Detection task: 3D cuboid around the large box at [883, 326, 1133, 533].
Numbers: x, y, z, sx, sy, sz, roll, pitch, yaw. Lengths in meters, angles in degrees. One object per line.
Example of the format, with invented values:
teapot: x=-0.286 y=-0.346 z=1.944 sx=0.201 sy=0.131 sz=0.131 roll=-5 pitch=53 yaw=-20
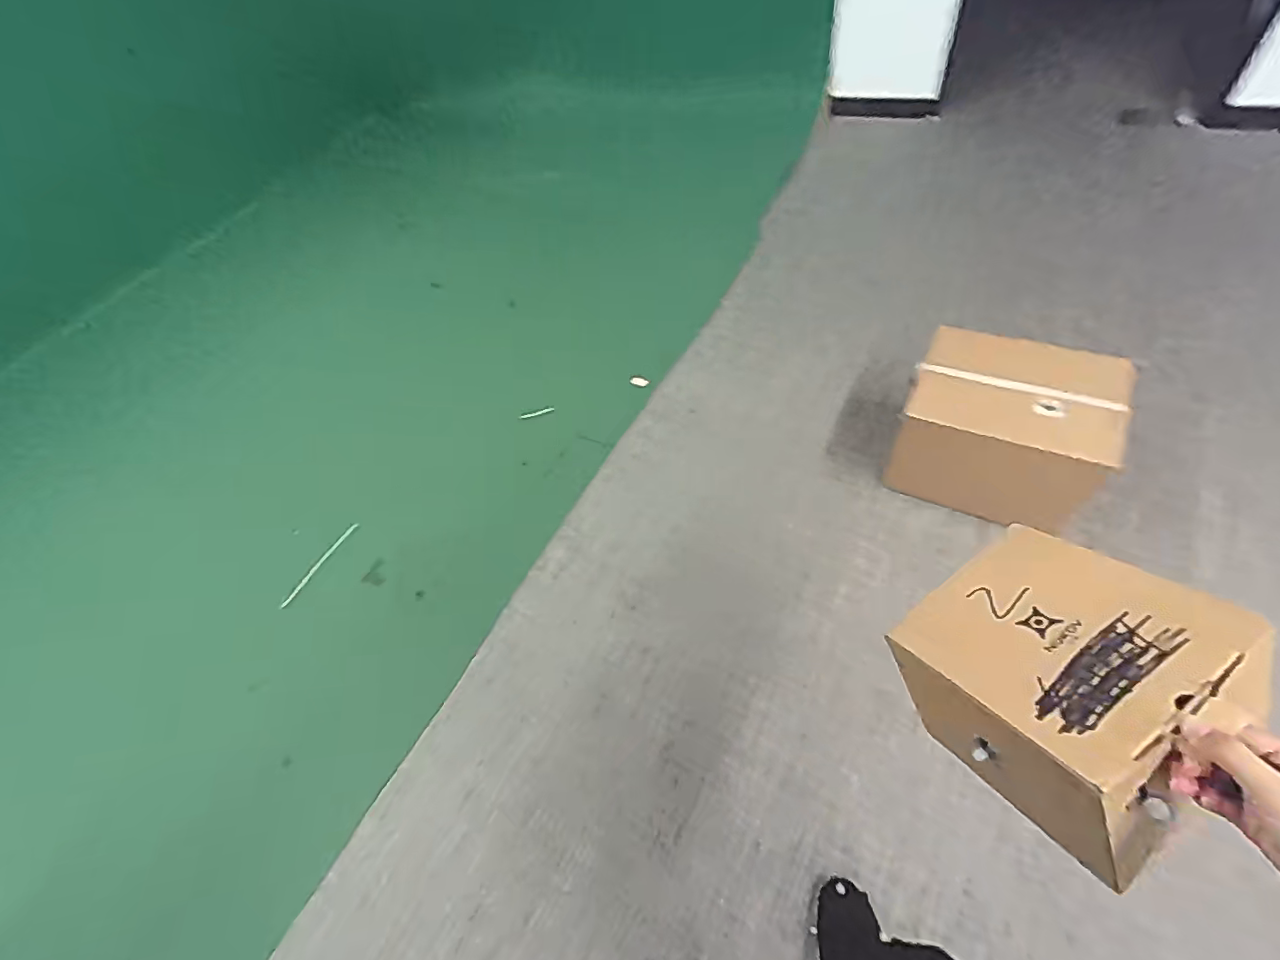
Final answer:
large box: x=0.870 y=-0.125 z=1.328 sx=0.408 sy=0.320 sz=0.320 roll=21 pitch=64 yaw=23
